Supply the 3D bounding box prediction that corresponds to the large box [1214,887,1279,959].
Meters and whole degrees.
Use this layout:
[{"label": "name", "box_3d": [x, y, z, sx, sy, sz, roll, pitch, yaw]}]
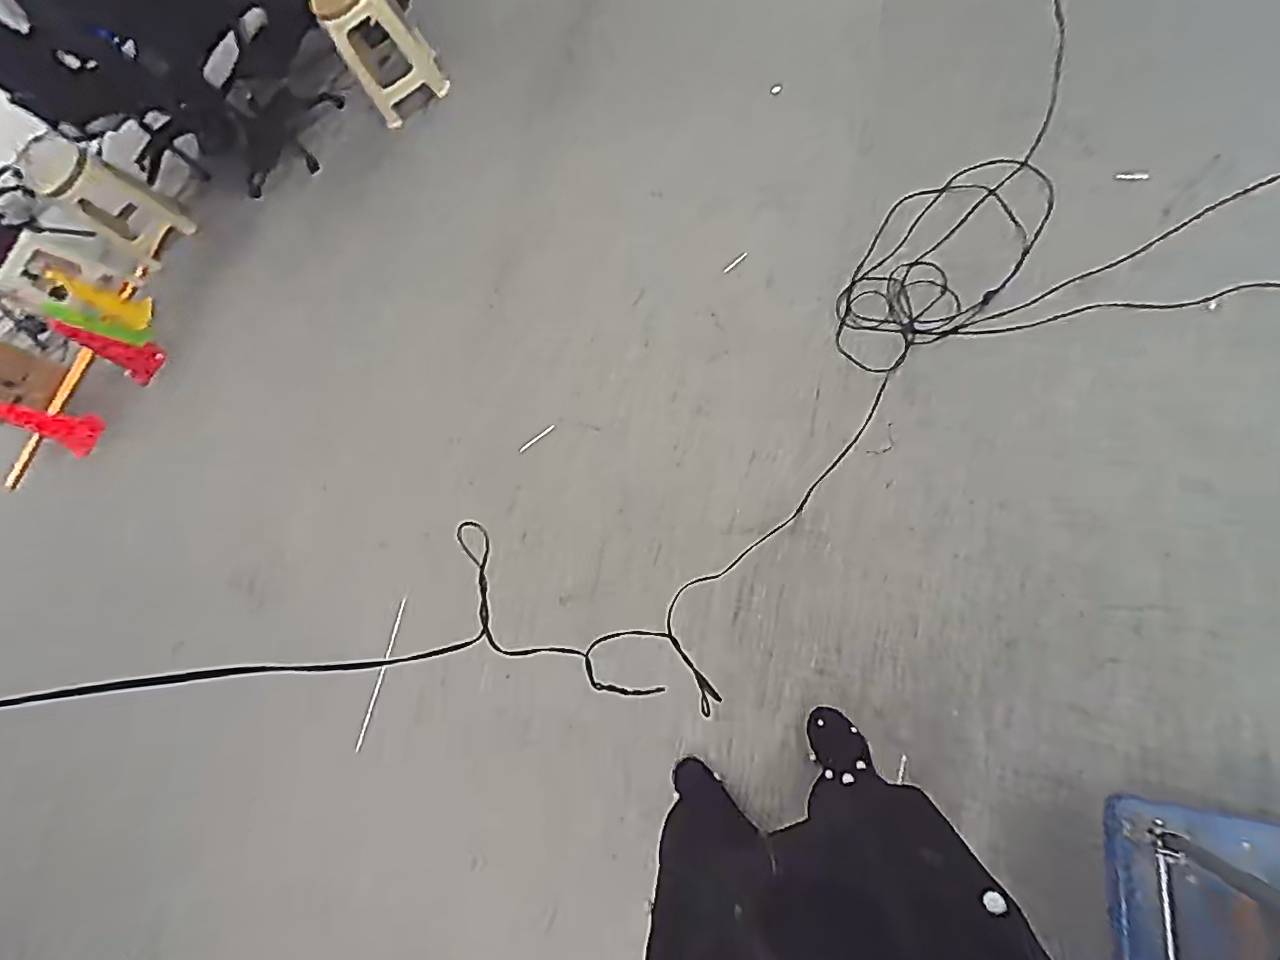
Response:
[{"label": "large box", "box_3d": [1.118, 0.817, 0.707, 0.408, 0.320, 0.320, 5, 75, 19]}]
